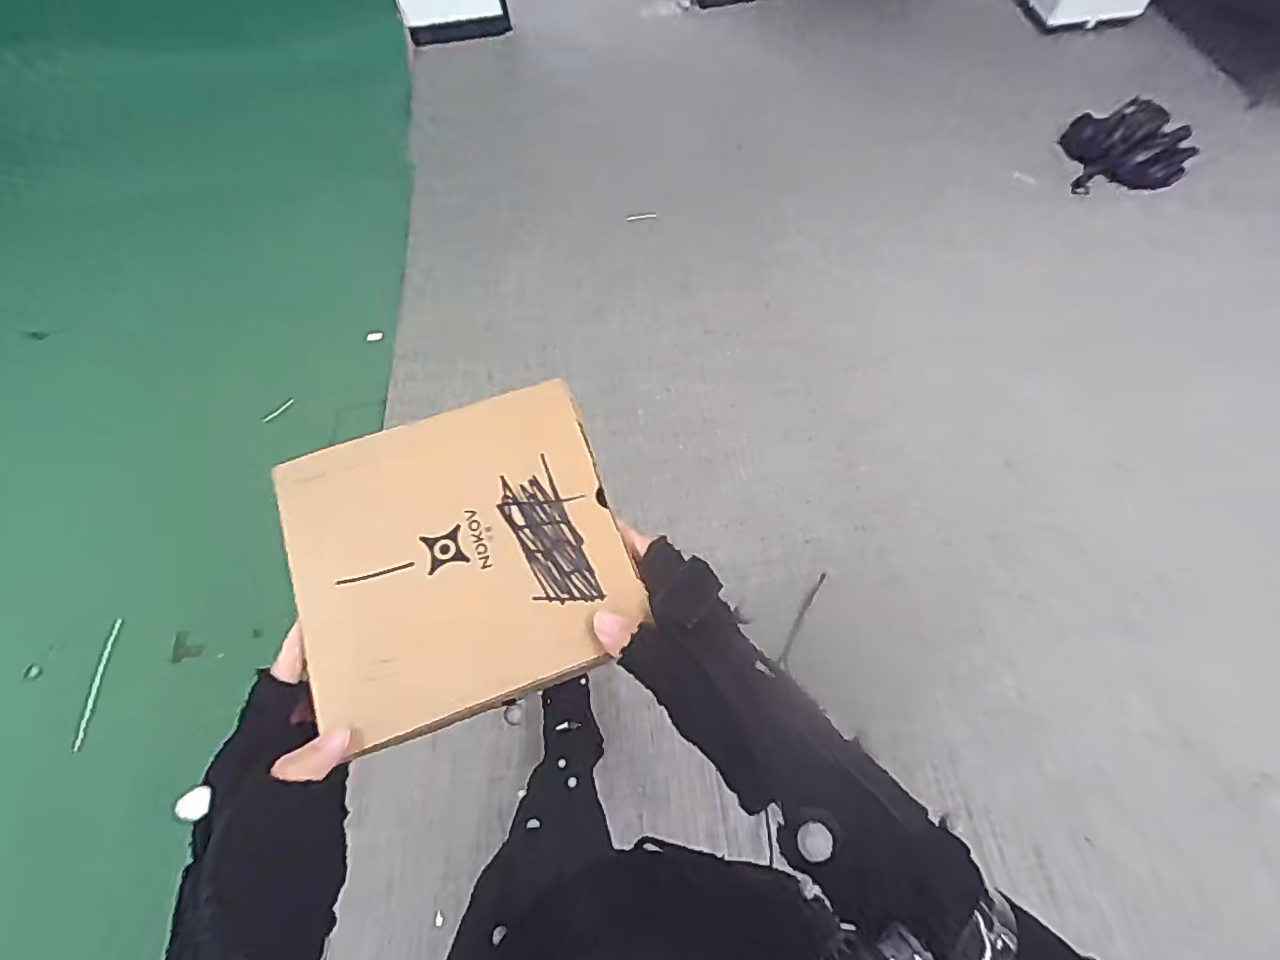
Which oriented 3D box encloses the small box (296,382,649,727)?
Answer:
[{"bbox_3d":[-0.104,0.059,0.383,0.179,0.176,0.168,-15,70,-8],"label":"small box"}]
